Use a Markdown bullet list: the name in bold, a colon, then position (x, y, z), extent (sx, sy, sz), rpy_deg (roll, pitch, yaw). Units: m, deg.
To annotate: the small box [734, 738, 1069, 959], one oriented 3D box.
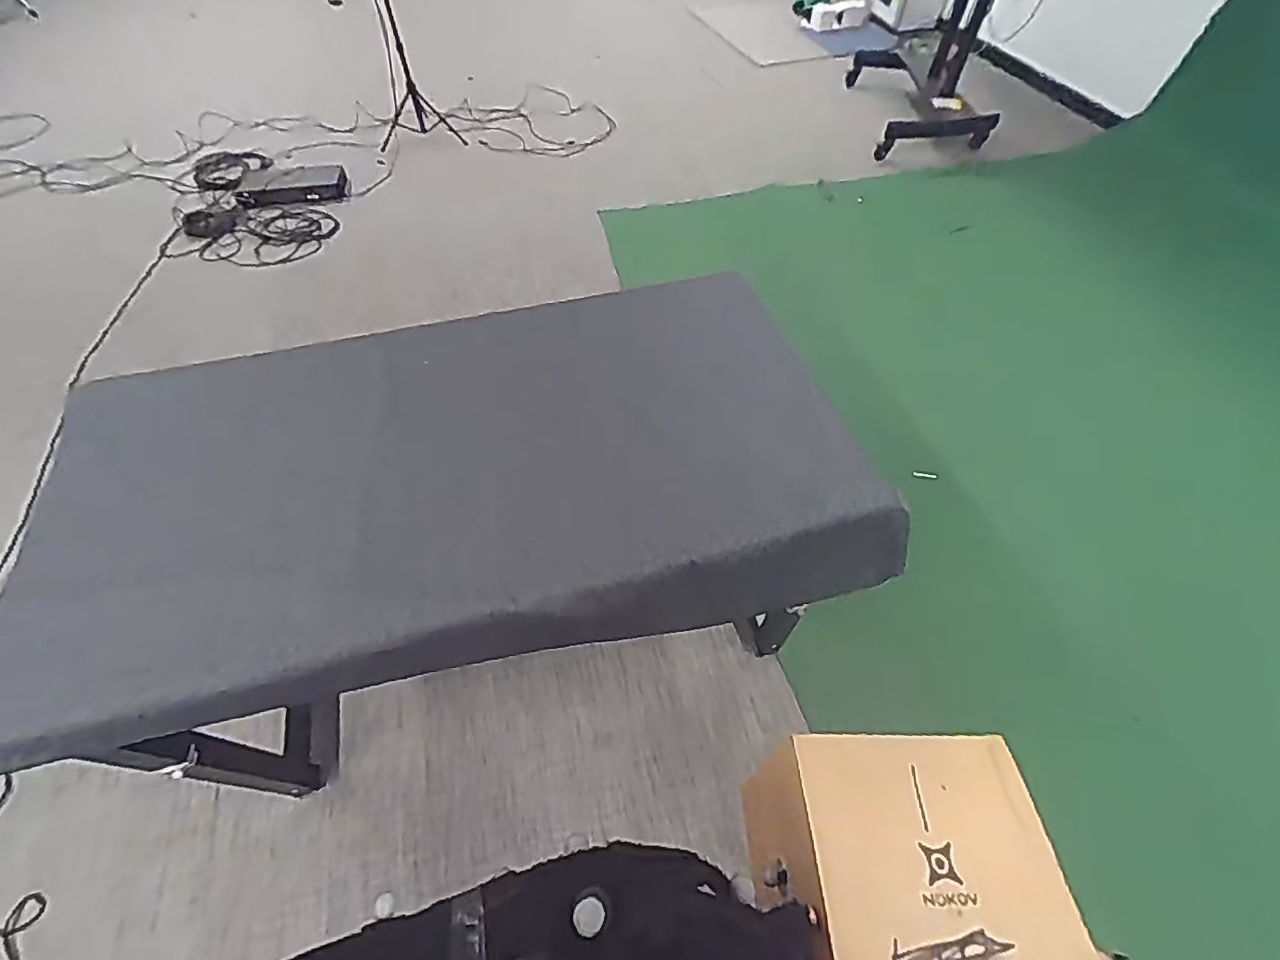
- **small box**: position (0.176, 0.316, 0.413), extent (0.168, 0.176, 0.179), rpy_deg (4, 48, -4)
